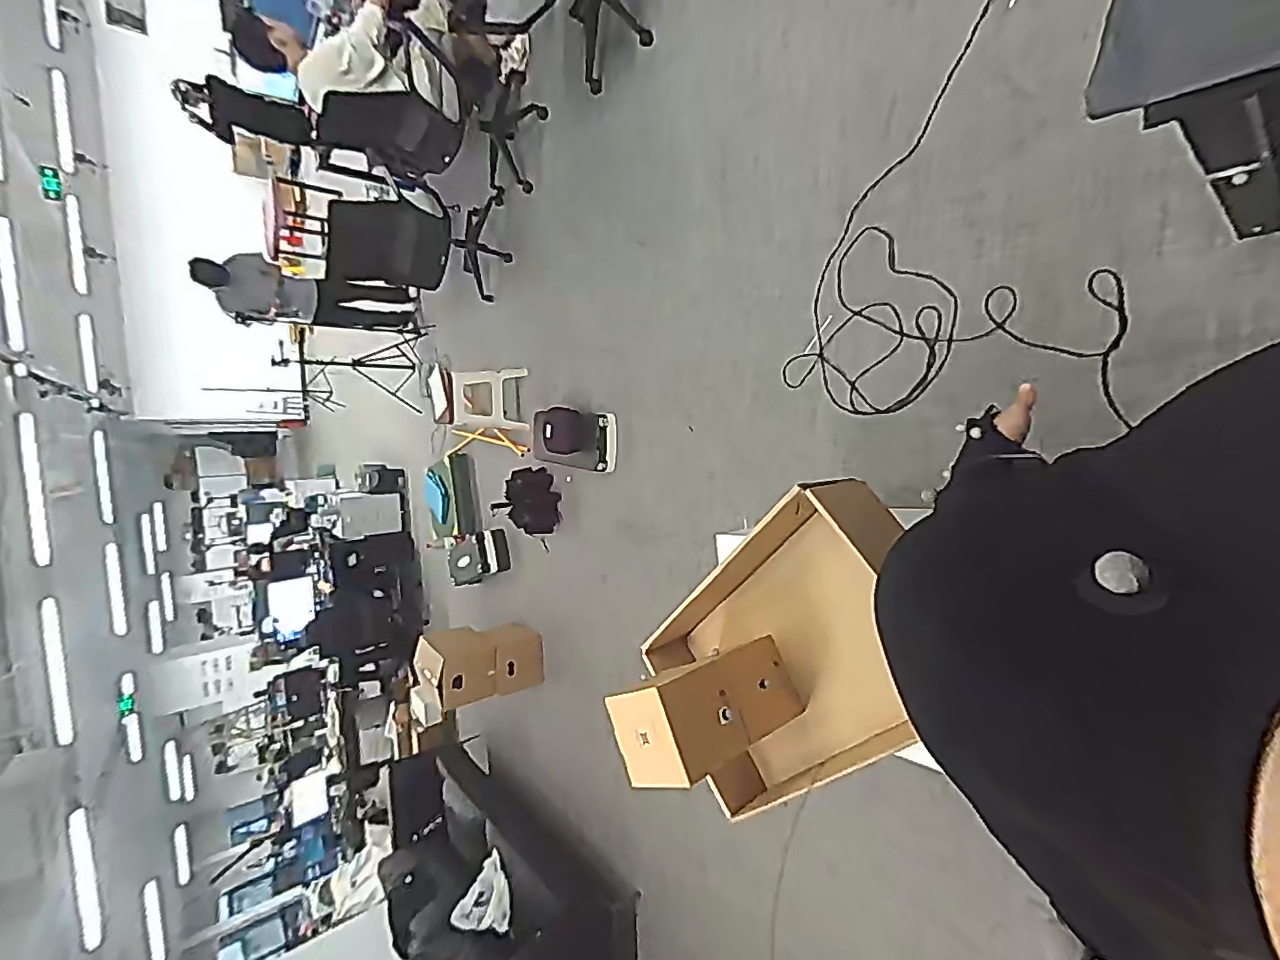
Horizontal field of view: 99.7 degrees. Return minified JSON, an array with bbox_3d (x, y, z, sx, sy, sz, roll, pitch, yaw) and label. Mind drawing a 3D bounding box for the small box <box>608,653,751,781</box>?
[{"bbox_3d":[0.074,0.443,1.018,0.179,0.176,0.168,-37,69,46],"label":"small box"}]
